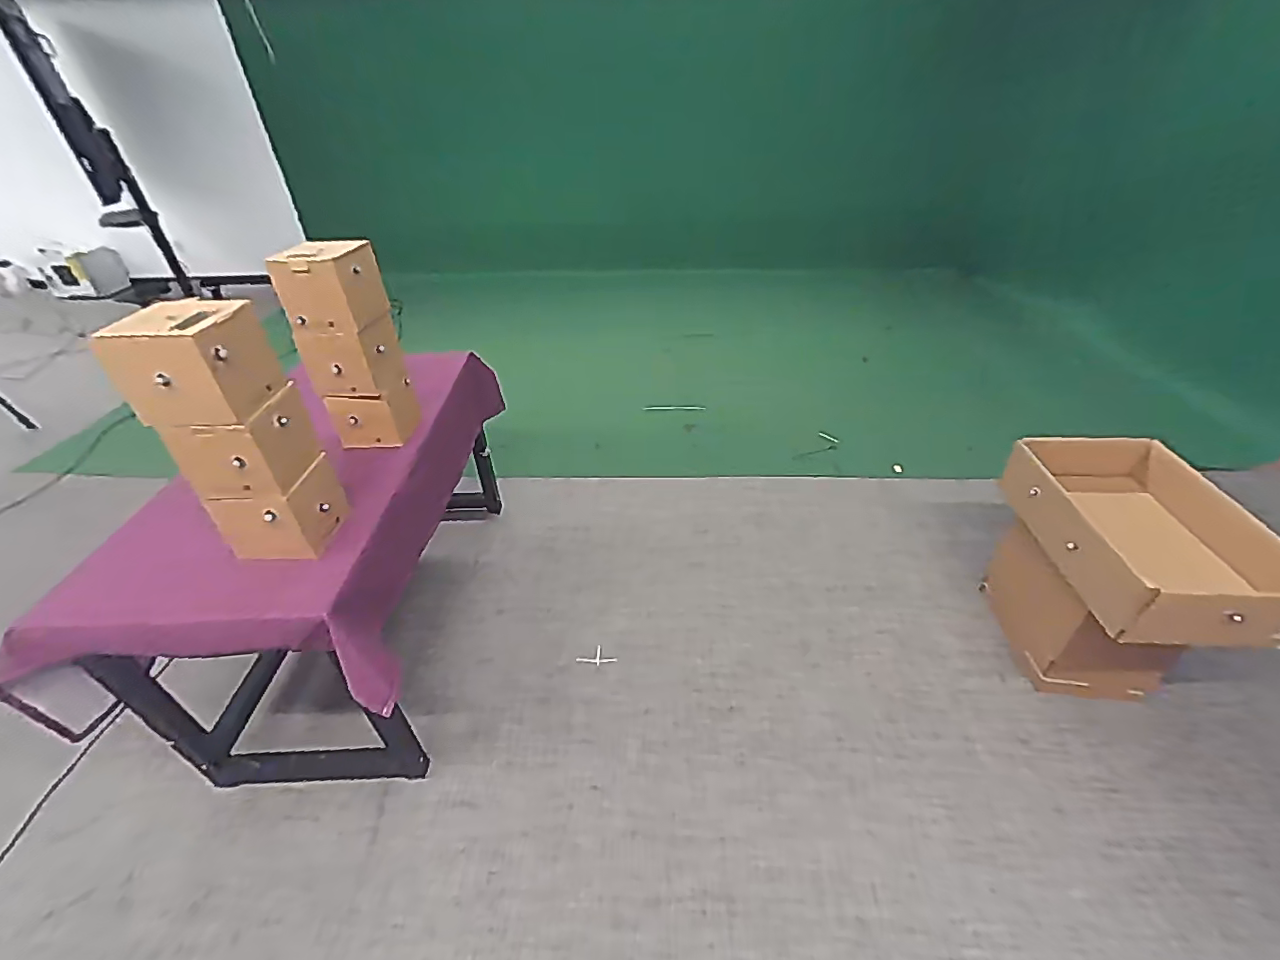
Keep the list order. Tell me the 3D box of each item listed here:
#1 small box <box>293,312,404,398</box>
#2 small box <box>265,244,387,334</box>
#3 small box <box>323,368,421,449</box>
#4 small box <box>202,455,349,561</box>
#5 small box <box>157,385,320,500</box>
[{"bbox_3d":[-0.739,-0.323,1.398,0.168,0.176,0.179,1,38,4],"label":"small box"},{"bbox_3d":[-0.744,-0.460,1.306,0.168,0.176,0.179,1,36,5],"label":"small box"},{"bbox_3d":[-0.733,-0.196,1.502,0.168,0.176,0.179,-2,37,2],"label":"small box"},{"bbox_3d":[-0.765,0.061,1.161,0.179,0.176,0.168,-1,37,3],"label":"small box"},{"bbox_3d":[-0.771,-0.073,1.068,0.168,0.176,0.179,-1,37,1],"label":"small box"}]
